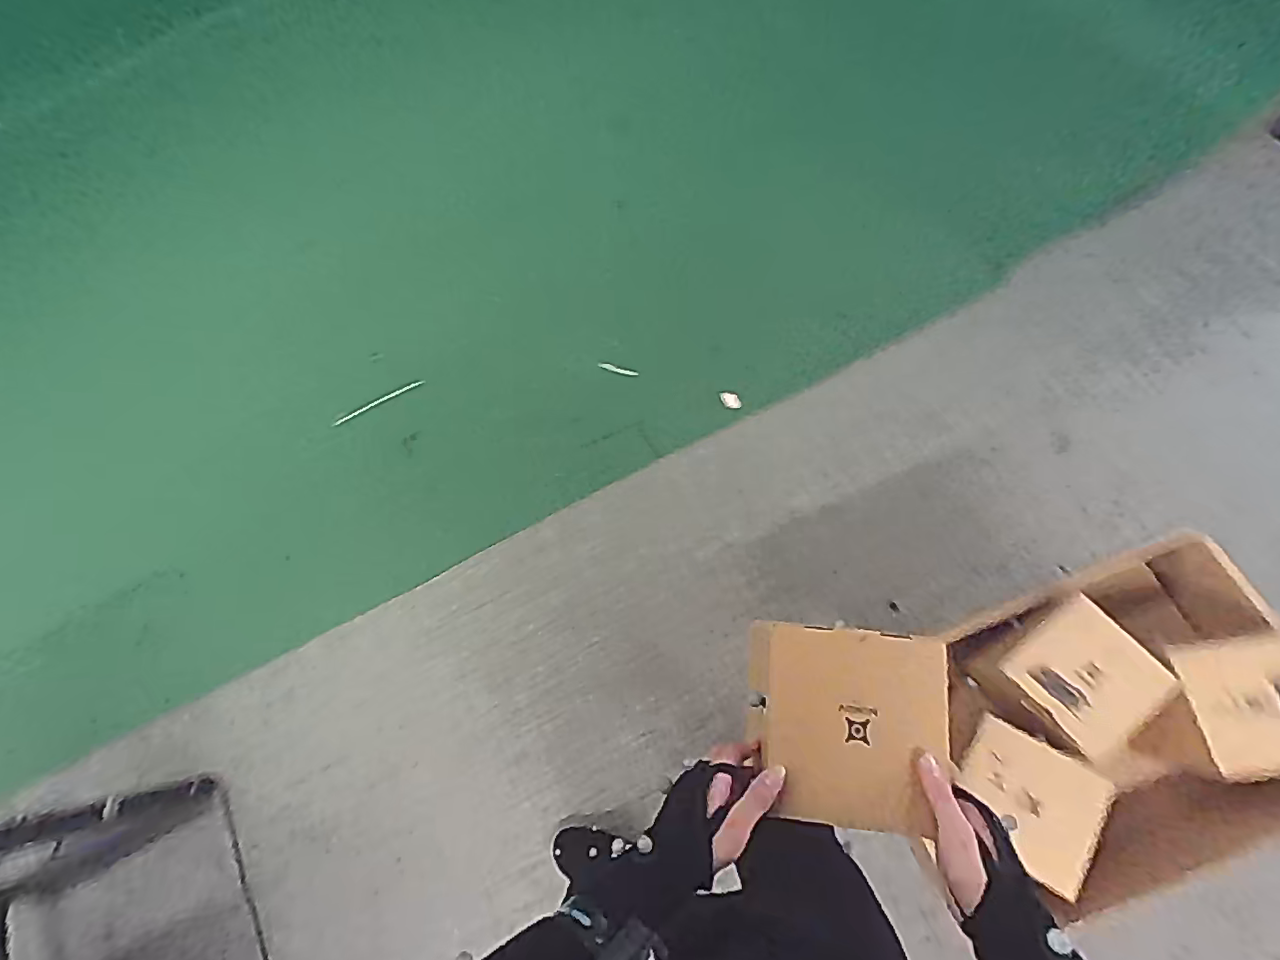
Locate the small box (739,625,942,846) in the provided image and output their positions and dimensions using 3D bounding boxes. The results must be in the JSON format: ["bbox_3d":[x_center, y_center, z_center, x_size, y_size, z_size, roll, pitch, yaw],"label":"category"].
[{"bbox_3d":[0.199,0.252,0.579,0.168,0.176,0.179,4,75,5],"label":"small box"}]
